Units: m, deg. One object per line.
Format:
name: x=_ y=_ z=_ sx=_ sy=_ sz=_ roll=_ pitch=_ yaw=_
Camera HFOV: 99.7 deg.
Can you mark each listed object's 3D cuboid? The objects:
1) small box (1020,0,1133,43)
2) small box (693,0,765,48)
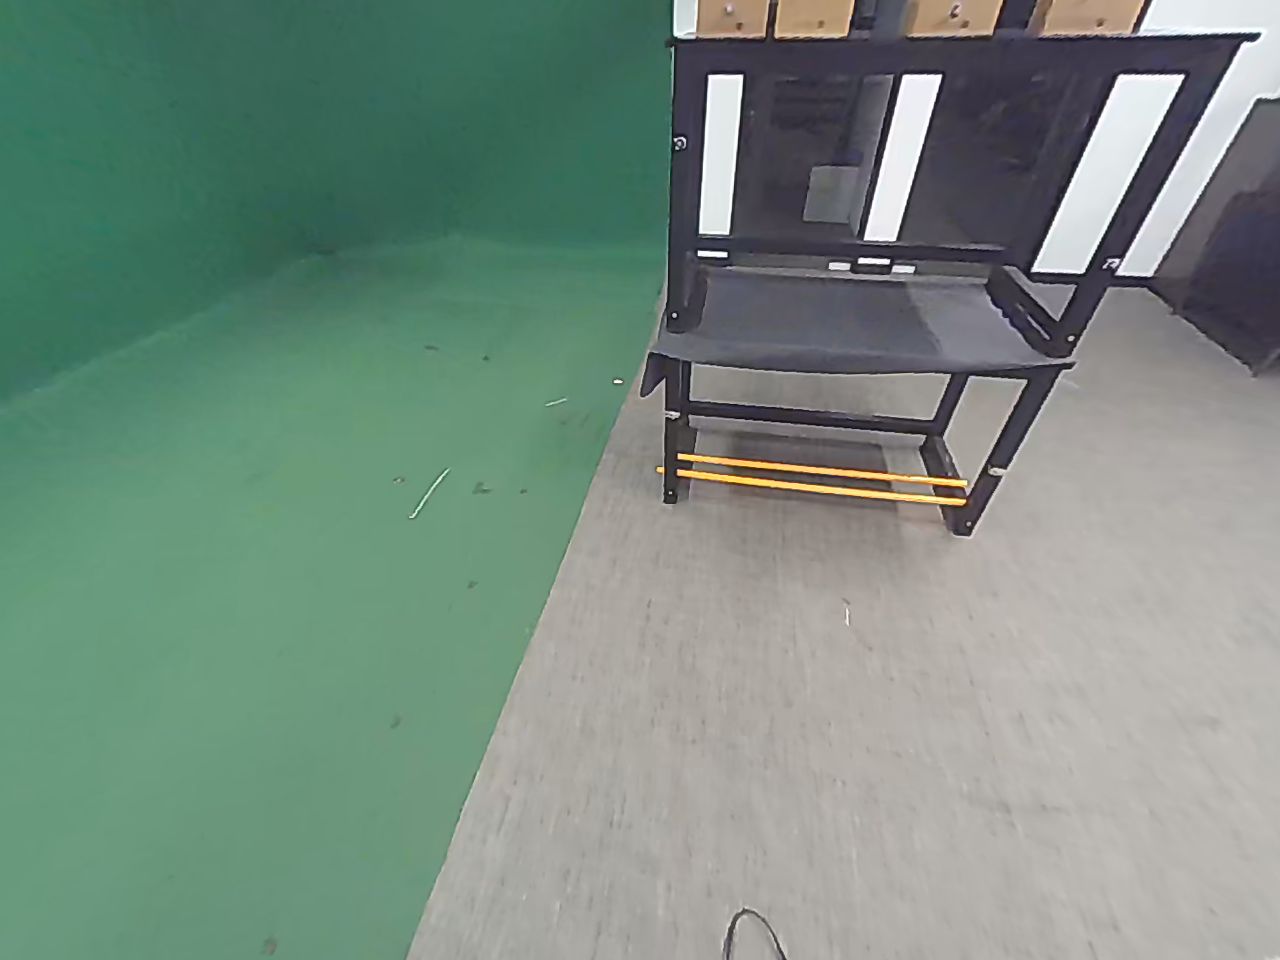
small box: x=0.965 y=-1.064 z=1.175 sx=0.168 sy=0.176 sz=0.179 roll=12 pitch=41 yaw=14
small box: x=0.218 y=-1.158 z=1.303 sx=0.168 sy=0.176 sz=0.179 roll=5 pitch=41 yaw=6
